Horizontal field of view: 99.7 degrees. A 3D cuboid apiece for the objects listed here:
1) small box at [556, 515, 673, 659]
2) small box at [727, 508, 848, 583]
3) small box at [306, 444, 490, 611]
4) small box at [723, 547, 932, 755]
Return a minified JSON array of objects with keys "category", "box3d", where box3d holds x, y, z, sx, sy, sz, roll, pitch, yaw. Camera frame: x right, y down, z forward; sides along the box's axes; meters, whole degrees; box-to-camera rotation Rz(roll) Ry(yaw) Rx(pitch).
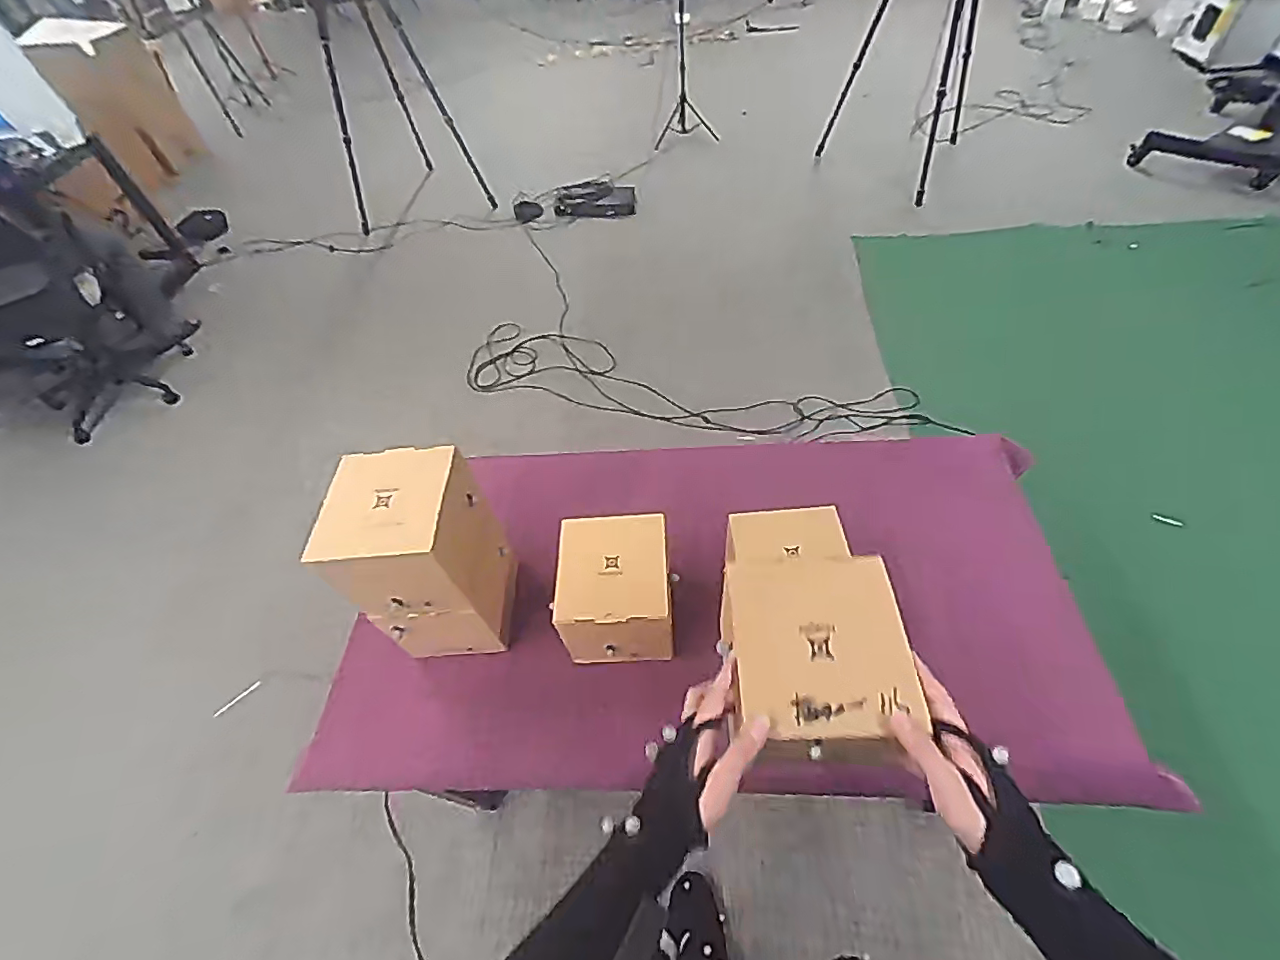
[{"category":"small box","box3d":[-0.033,0.174,0.872,0.168,0.176,0.179,-3,54,3]},{"category":"small box","box3d":[0.231,0.165,0.850,0.168,0.176,0.179,-4,53,3]},{"category":"small box","box3d":[-0.324,0.070,0.771,0.168,0.176,0.179,-4,53,3]},{"category":"small box","box3d":[0.182,0.189,0.592,0.168,0.176,0.179,-2,55,4]}]
